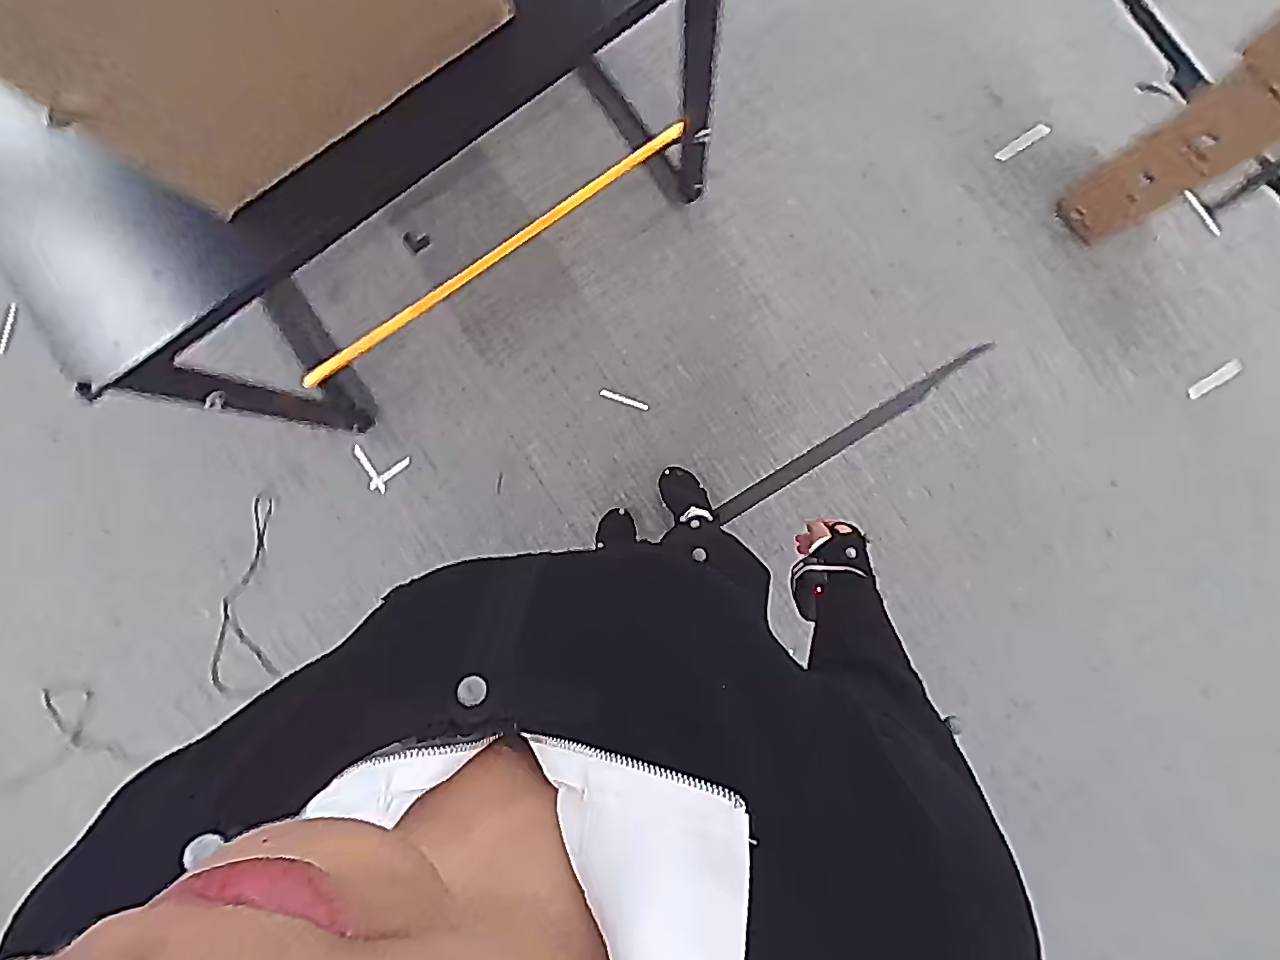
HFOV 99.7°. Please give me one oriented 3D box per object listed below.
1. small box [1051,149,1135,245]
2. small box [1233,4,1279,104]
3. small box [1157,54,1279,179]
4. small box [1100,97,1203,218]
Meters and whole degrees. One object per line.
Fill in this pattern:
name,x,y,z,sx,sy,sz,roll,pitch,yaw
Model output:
small box,1.203,-0.736,1.361,0.179,0.176,0.168,-36,86,3
small box,1.148,-0.750,0.869,0.168,0.176,0.179,-39,87,2
small box,1.171,-0.730,1.032,0.179,0.176,0.168,-40,86,2
small box,1.183,-0.726,1.198,0.179,0.176,0.168,-35,87,3
